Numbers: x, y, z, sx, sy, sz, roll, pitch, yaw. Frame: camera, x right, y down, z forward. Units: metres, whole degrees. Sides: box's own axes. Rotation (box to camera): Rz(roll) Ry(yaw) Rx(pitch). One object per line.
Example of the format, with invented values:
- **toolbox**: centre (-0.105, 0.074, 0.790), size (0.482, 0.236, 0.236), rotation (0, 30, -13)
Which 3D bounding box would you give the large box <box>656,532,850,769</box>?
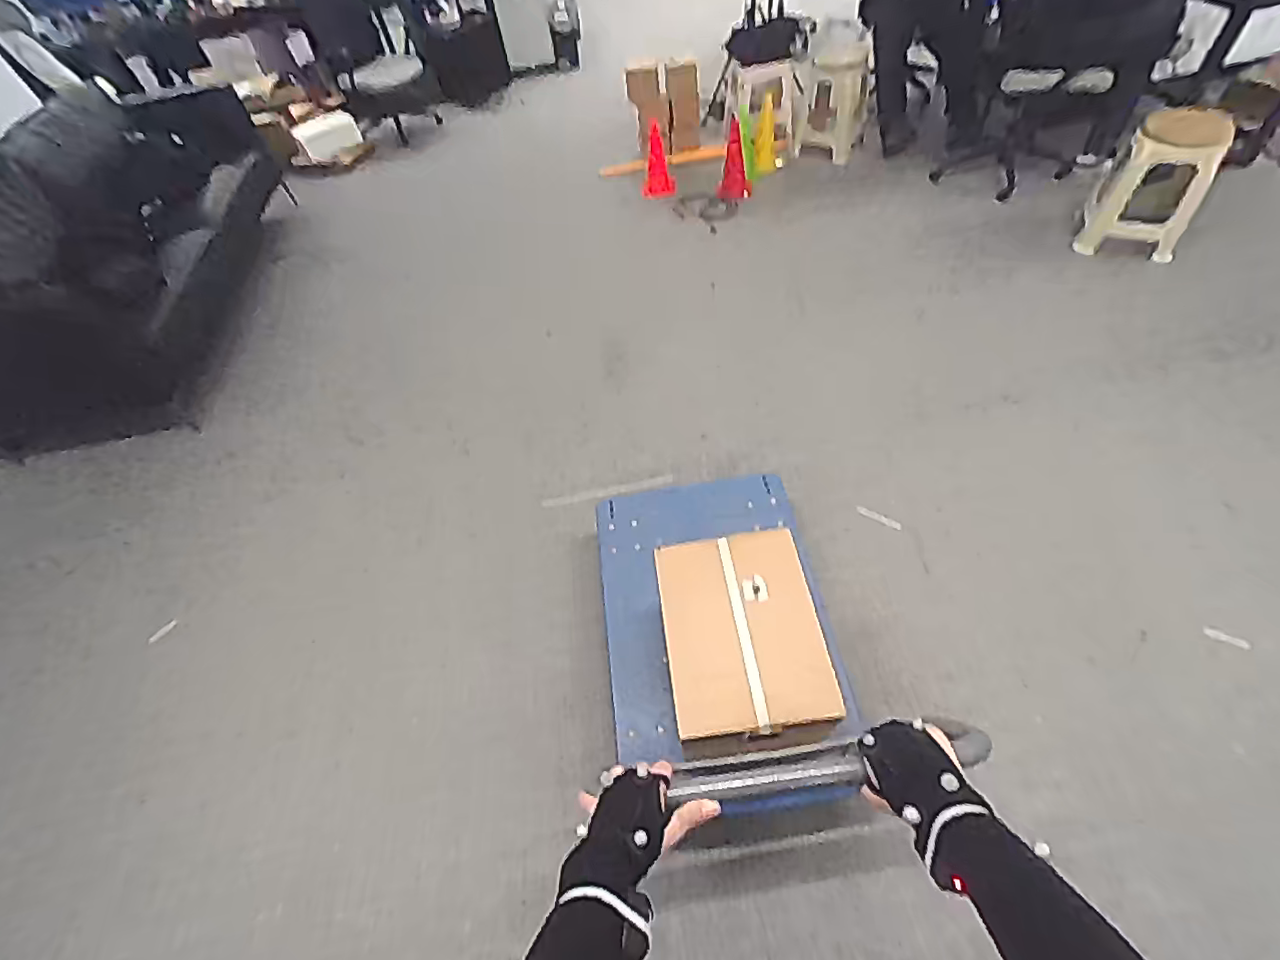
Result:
- **large box**: centre (0.229, 0.385, 1.218), size (0.320, 0.320, 0.408), rotation (-9, 52, 1)
